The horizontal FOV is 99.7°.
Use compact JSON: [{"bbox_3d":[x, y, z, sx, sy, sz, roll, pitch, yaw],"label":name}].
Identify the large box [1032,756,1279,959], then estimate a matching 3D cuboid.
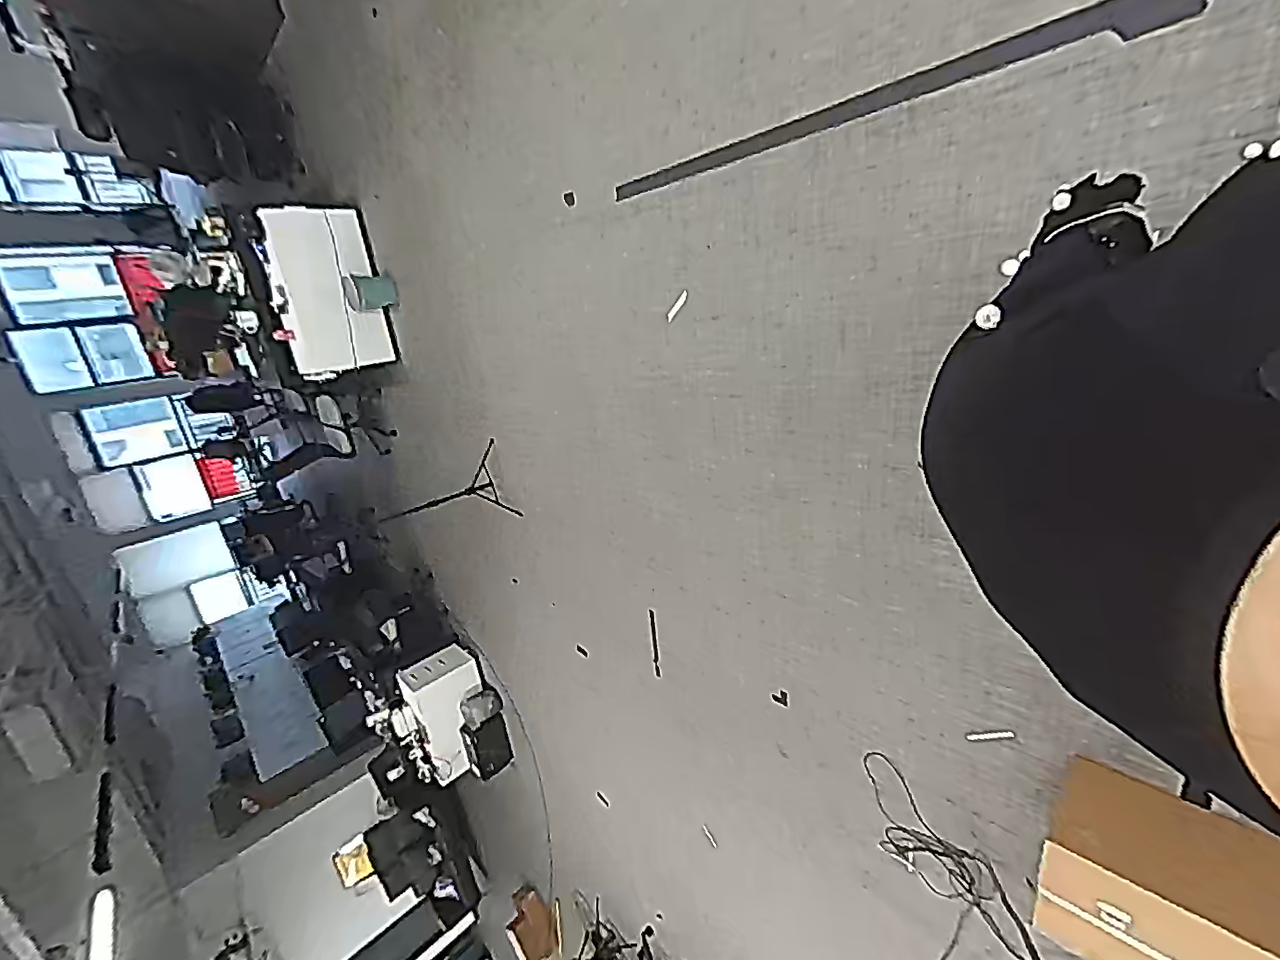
[{"bbox_3d":[1.189,0.934,1.233,0.408,0.320,0.320,13,117,46],"label":"large box"}]
